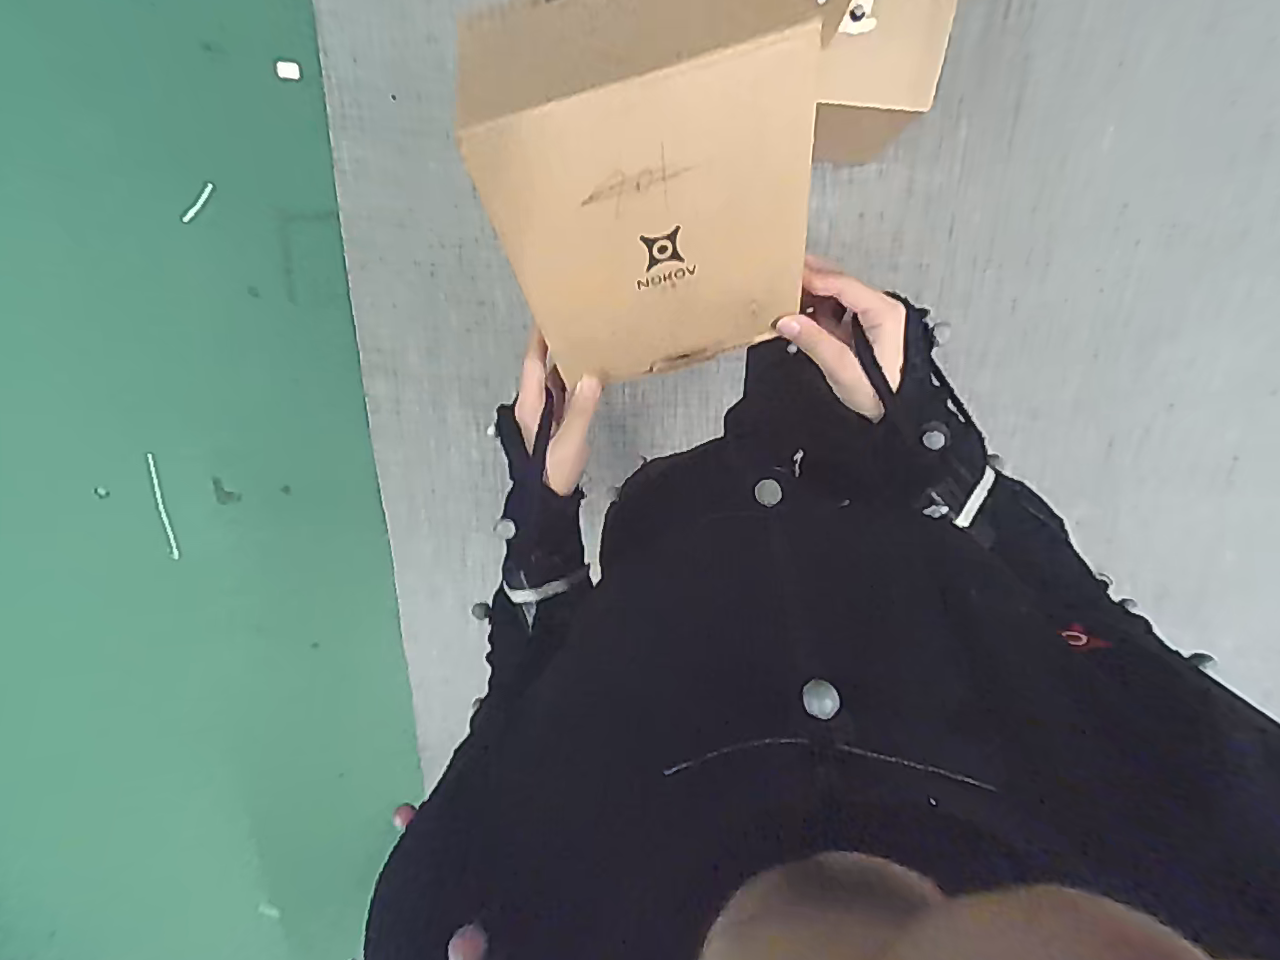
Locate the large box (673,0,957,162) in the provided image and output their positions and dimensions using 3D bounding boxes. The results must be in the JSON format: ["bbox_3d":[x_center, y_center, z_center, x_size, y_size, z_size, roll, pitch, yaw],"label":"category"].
[{"bbox_3d":[0.269,-0.764,0.919,0.408,0.320,0.320,7,109,2],"label":"large box"}]

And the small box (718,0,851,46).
[{"bbox_3d":[0.203,-0.699,0.691,0.179,0.176,0.168,13,108,1],"label":"small box"}]
